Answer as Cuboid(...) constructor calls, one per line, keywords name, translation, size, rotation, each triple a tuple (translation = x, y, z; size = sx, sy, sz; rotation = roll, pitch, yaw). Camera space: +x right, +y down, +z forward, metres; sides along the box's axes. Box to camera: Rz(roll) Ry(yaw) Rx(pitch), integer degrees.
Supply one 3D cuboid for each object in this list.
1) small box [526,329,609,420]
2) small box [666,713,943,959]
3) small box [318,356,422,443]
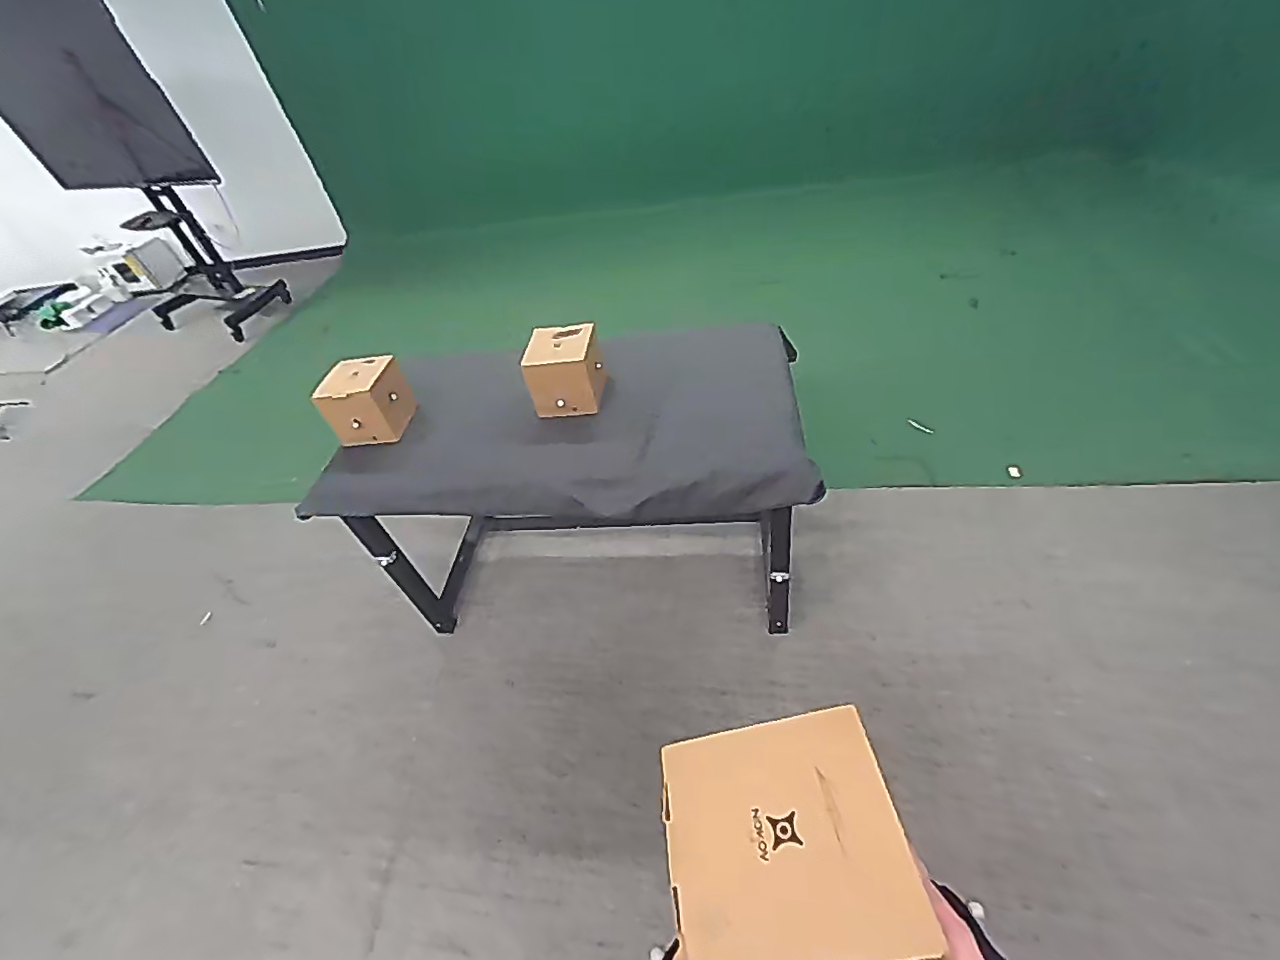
Cuboid(name="small box", translation=(-0.182, -0.278, 1.433), size=(0.168, 0.176, 0.179), rotation=(-2, 46, 10))
Cuboid(name="small box", translation=(0.134, 0.334, 0.469), size=(0.179, 0.176, 0.168), rotation=(-16, 40, 8))
Cuboid(name="small box", translation=(-0.728, -0.214, 1.484), size=(0.168, 0.176, 0.179), rotation=(-3, 45, 8))
